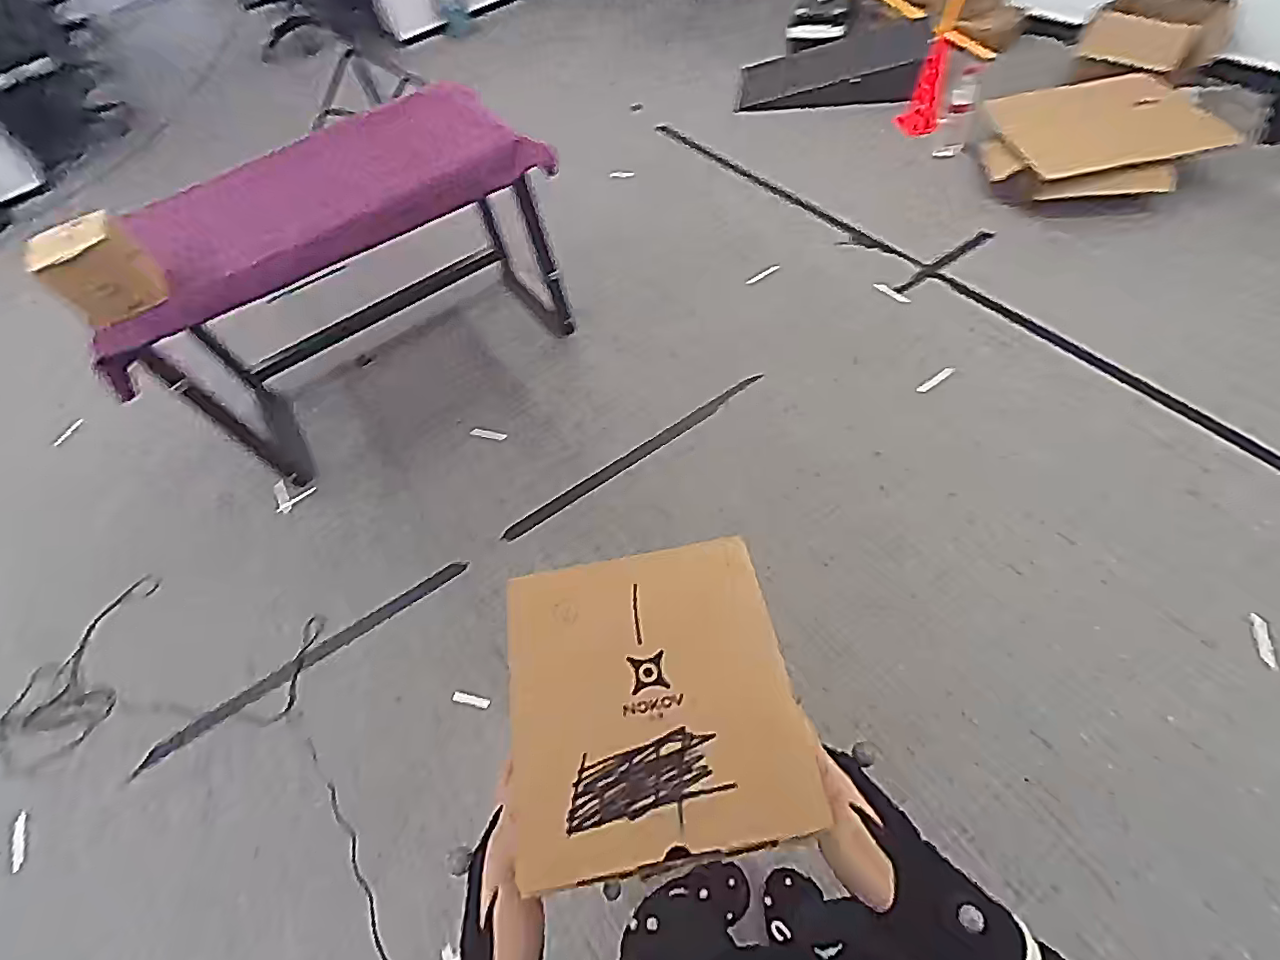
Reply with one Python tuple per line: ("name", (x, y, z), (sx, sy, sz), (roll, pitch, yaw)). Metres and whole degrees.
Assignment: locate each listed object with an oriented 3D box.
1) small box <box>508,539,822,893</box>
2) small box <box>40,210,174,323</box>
("small box", (0.010, 0.170, 0.390), (0.168, 0.176, 0.179), (-11, 55, -3))
("small box", (-1.285, -0.510, 1.315), (0.168, 0.176, 0.179), (-31, 59, -12))
